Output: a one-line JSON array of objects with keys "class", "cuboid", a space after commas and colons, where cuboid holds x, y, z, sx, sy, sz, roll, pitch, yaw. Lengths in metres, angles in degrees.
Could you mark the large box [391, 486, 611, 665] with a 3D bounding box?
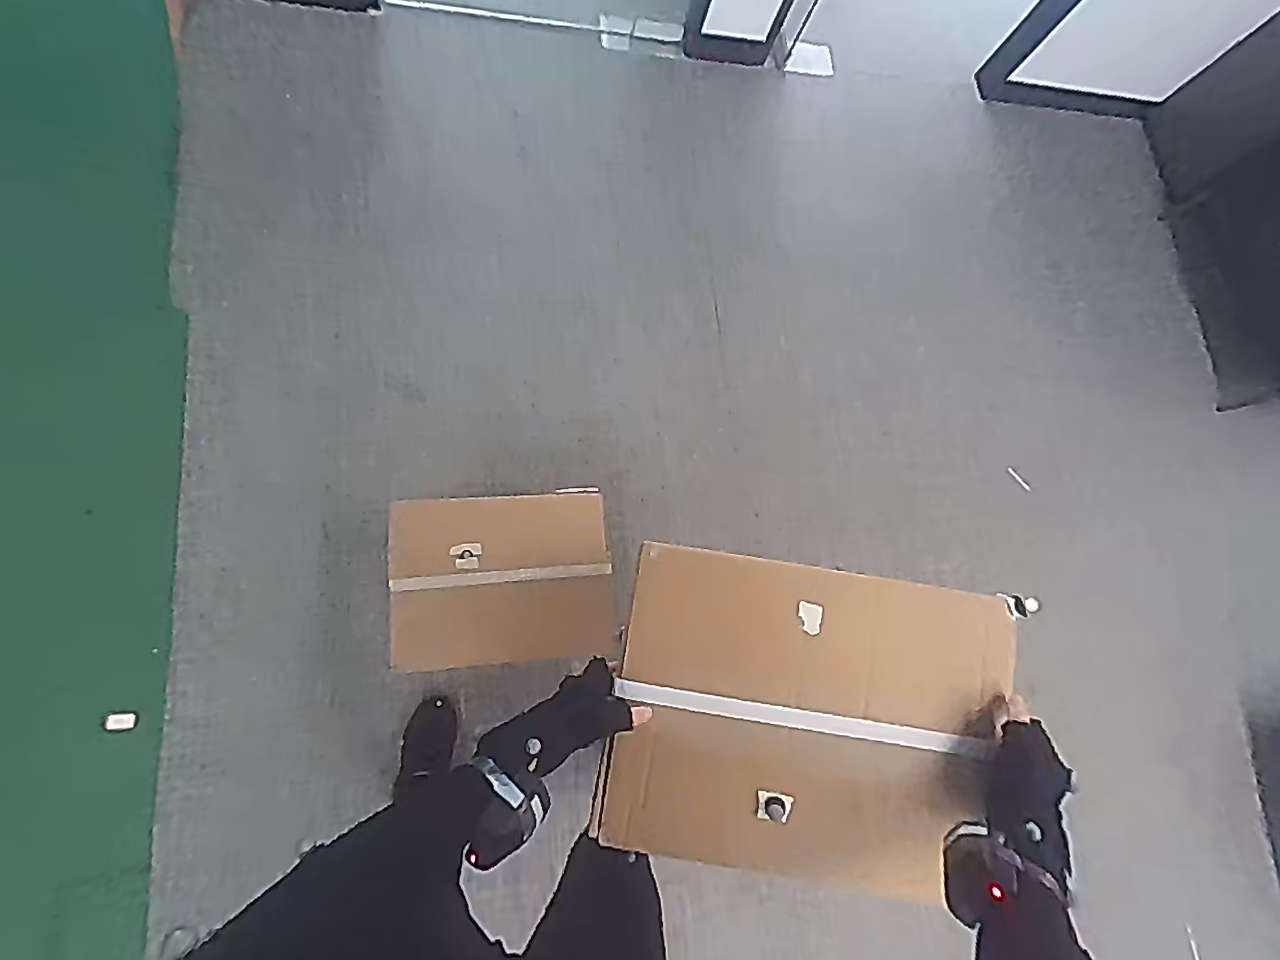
[{"class": "large box", "cuboid": [-0.291, 0.199, 1.174, 0.408, 0.320, 0.320, -2, 79, -13]}]
